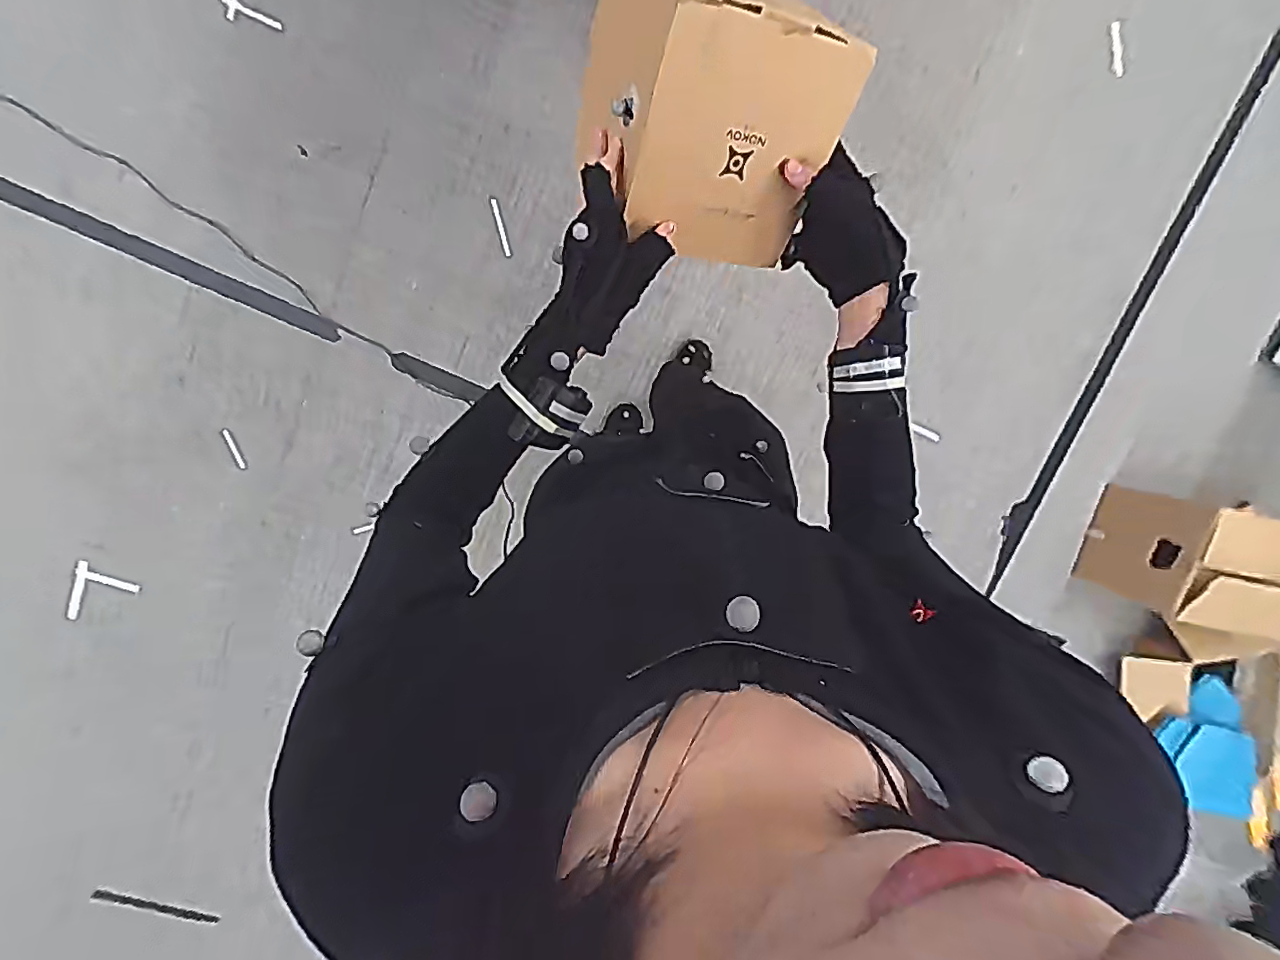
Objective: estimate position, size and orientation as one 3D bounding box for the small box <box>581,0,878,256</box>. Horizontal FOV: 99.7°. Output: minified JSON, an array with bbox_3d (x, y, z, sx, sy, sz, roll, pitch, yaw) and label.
[{"bbox_3d":[0.054,-0.324,0.466,0.168,0.176,0.179,-3,142,-22],"label":"small box"}]
